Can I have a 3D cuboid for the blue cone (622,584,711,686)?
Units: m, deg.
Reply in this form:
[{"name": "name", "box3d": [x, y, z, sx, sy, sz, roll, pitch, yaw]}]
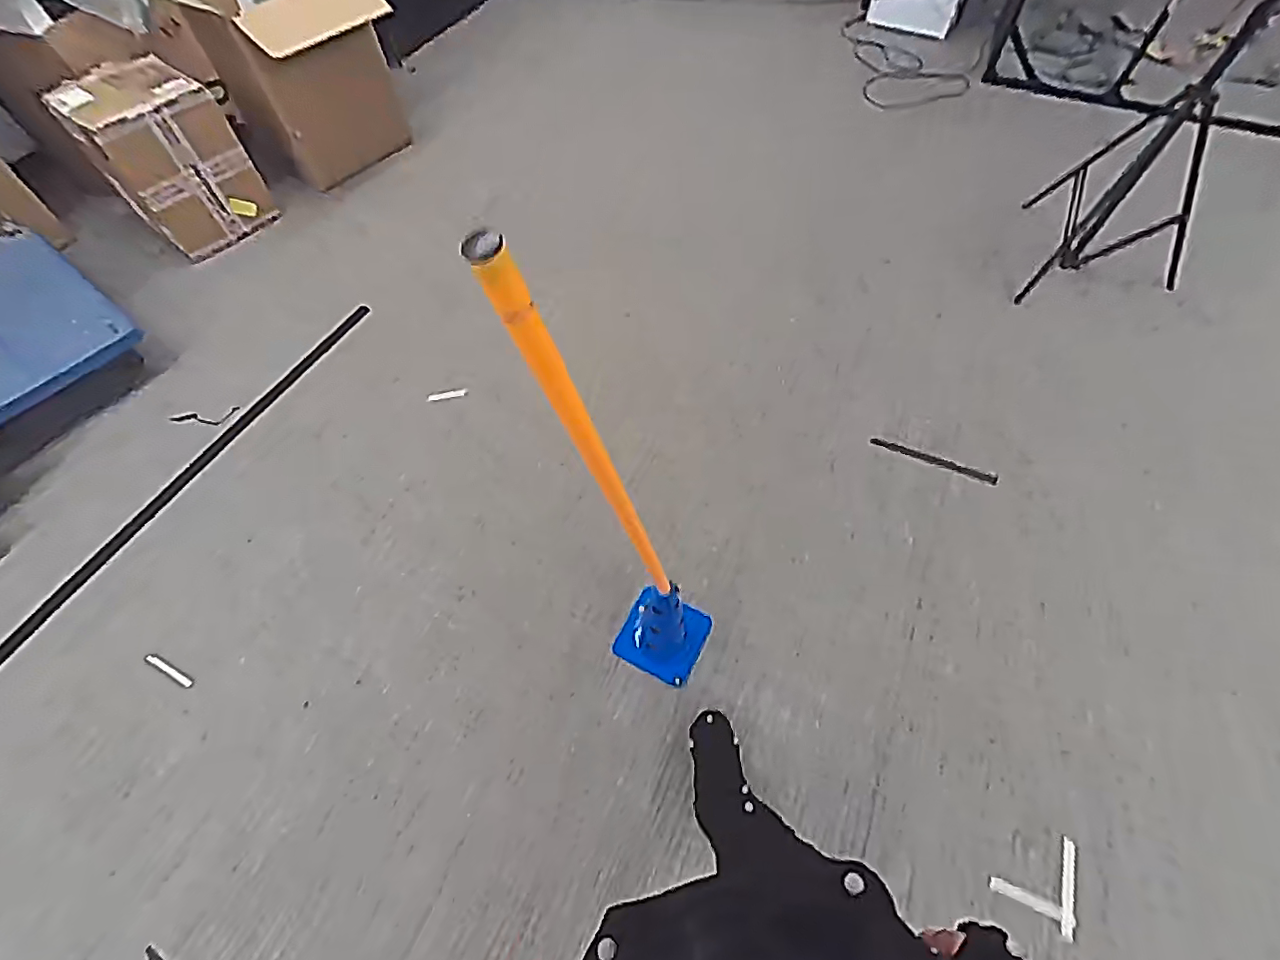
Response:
[{"name": "blue cone", "box3d": [0.063, 0.309, 1.210, 0.192, 0.380, 0.193, 26, 63, 15]}]
